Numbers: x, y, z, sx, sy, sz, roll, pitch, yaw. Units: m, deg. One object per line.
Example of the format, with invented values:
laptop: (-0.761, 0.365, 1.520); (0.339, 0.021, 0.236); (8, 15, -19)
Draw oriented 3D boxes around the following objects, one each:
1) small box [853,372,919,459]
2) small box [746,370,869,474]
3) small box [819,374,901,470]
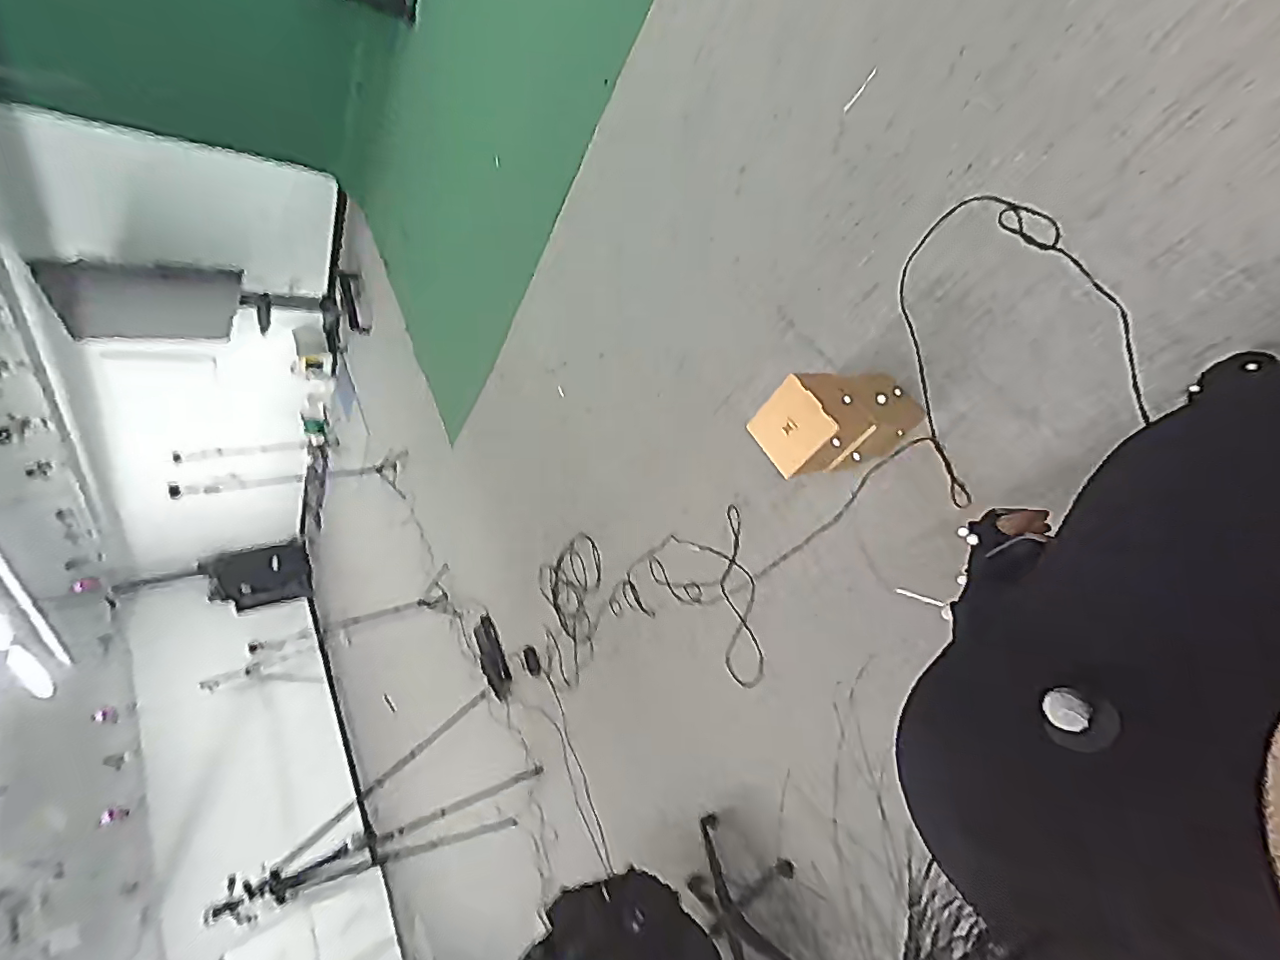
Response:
small box: (0.623, -0.177, 1.467); (0.168, 0.176, 0.179); (57, 135, 27)
small box: (0.386, -0.134, 1.246); (0.168, 0.176, 0.179); (58, 134, 24)
small box: (0.509, -0.145, 1.352); (0.168, 0.176, 0.179); (59, 134, 23)
